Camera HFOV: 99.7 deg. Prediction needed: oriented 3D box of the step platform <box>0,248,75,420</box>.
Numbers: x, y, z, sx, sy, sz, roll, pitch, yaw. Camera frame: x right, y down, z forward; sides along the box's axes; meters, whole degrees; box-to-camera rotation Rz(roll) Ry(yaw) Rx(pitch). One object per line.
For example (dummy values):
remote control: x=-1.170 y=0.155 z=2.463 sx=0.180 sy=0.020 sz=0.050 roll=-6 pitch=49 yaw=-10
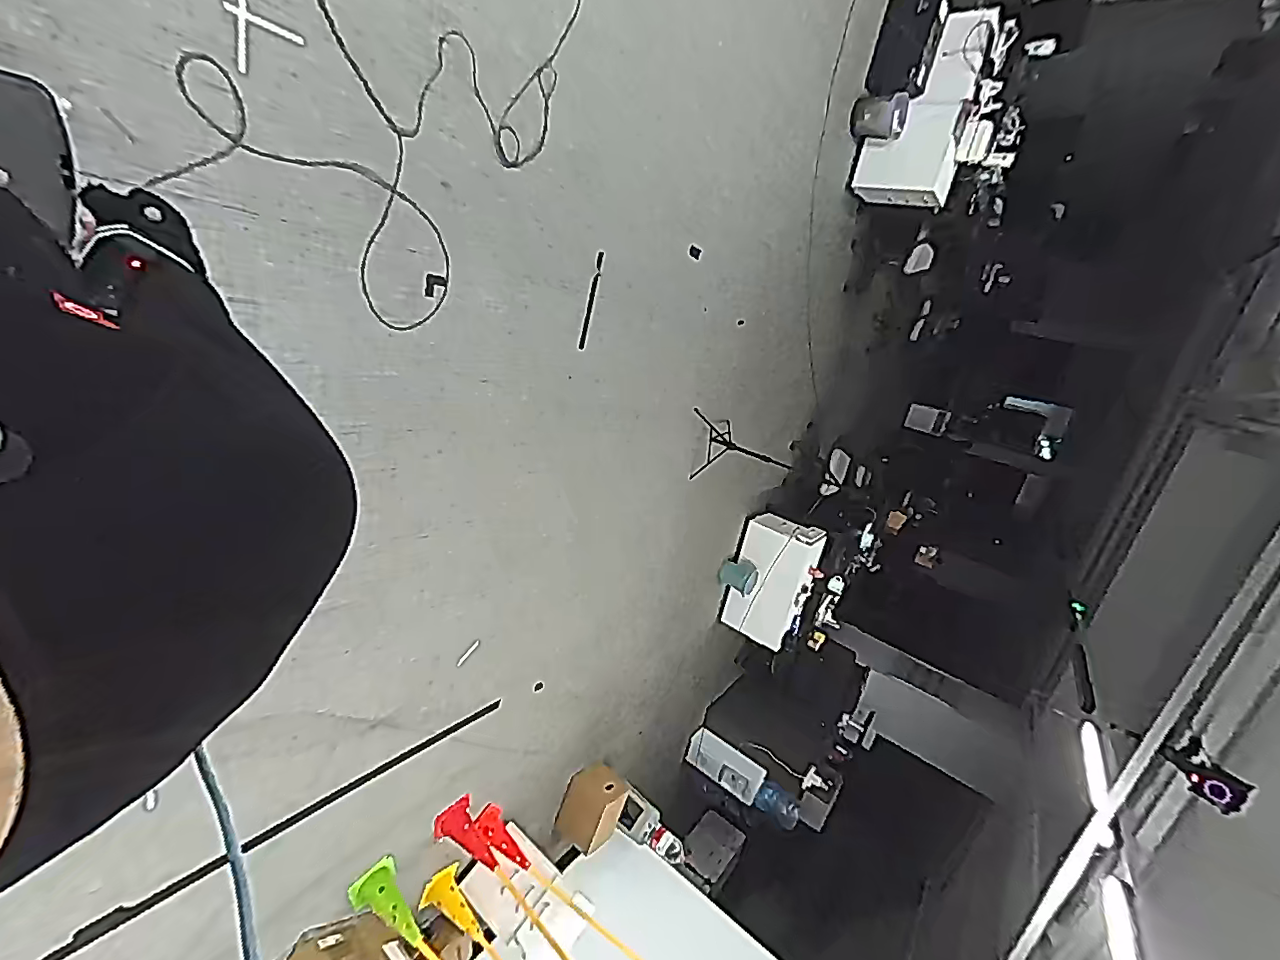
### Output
step platform: x=-1.305 y=-0.229 z=0.778 sx=0.684 sy=0.204 sz=0.286 roll=-12 pitch=120 yaw=-52
